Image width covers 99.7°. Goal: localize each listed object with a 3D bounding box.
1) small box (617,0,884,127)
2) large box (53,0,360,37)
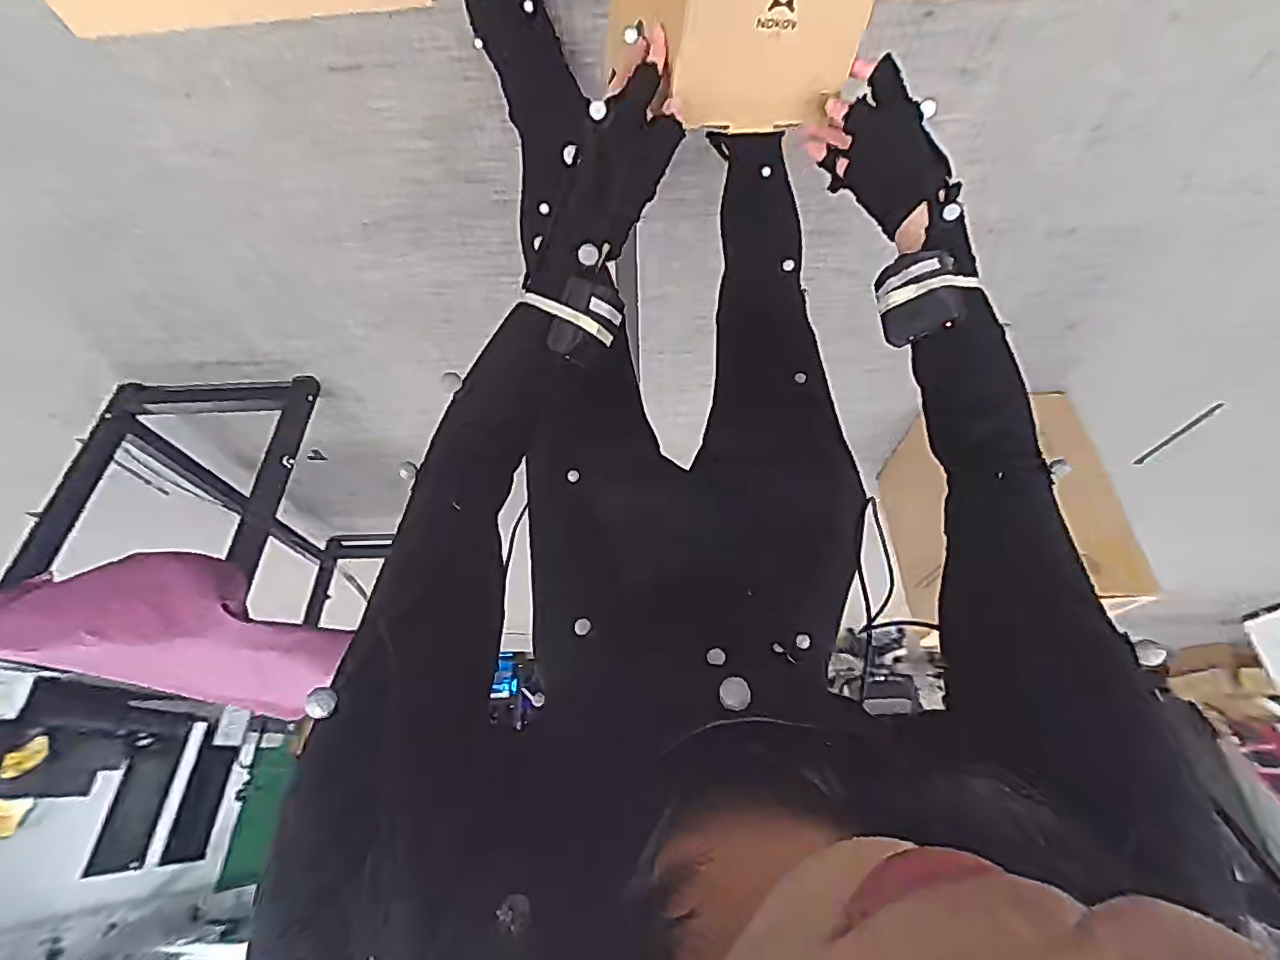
[{"bbox_3d":[0.086,-0.420,0.441,0.168,0.176,0.179,-13,146,-17],"label":"small box"},{"bbox_3d":[-0.424,-0.697,0.514,0.408,0.320,0.320,-3,151,4],"label":"large box"}]
